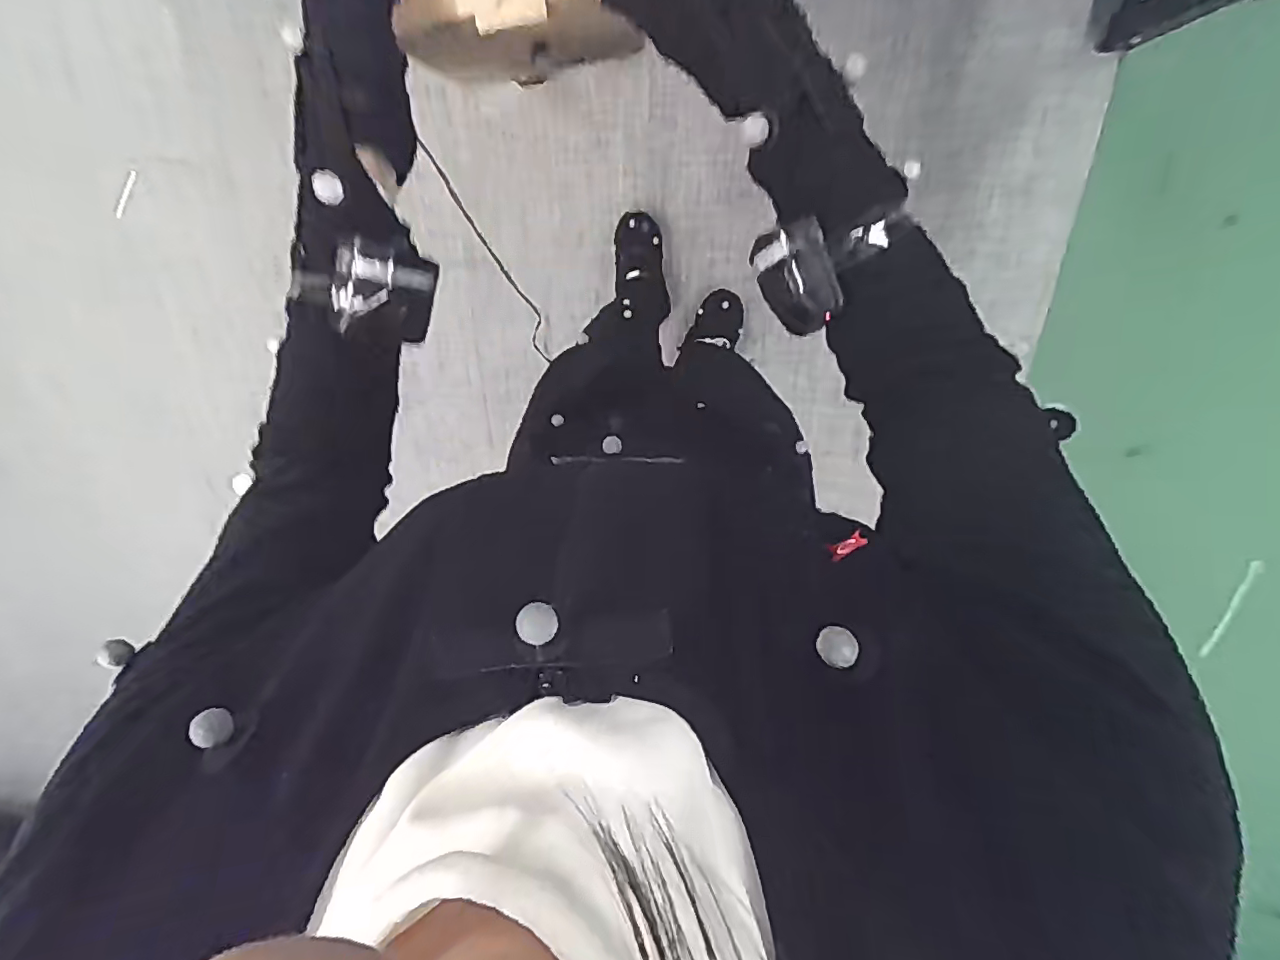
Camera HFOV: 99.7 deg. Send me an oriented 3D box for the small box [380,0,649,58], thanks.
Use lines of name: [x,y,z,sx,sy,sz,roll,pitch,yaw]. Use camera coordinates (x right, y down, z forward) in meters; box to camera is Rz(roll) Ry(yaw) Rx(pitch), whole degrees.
small box: [-0.086,-0.404,0.353,0.168,0.176,0.179,-7,117,5]

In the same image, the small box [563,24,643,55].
small box: [-0.092,-0.932,1.003,0.168,0.176,0.179,-4,115,10]
